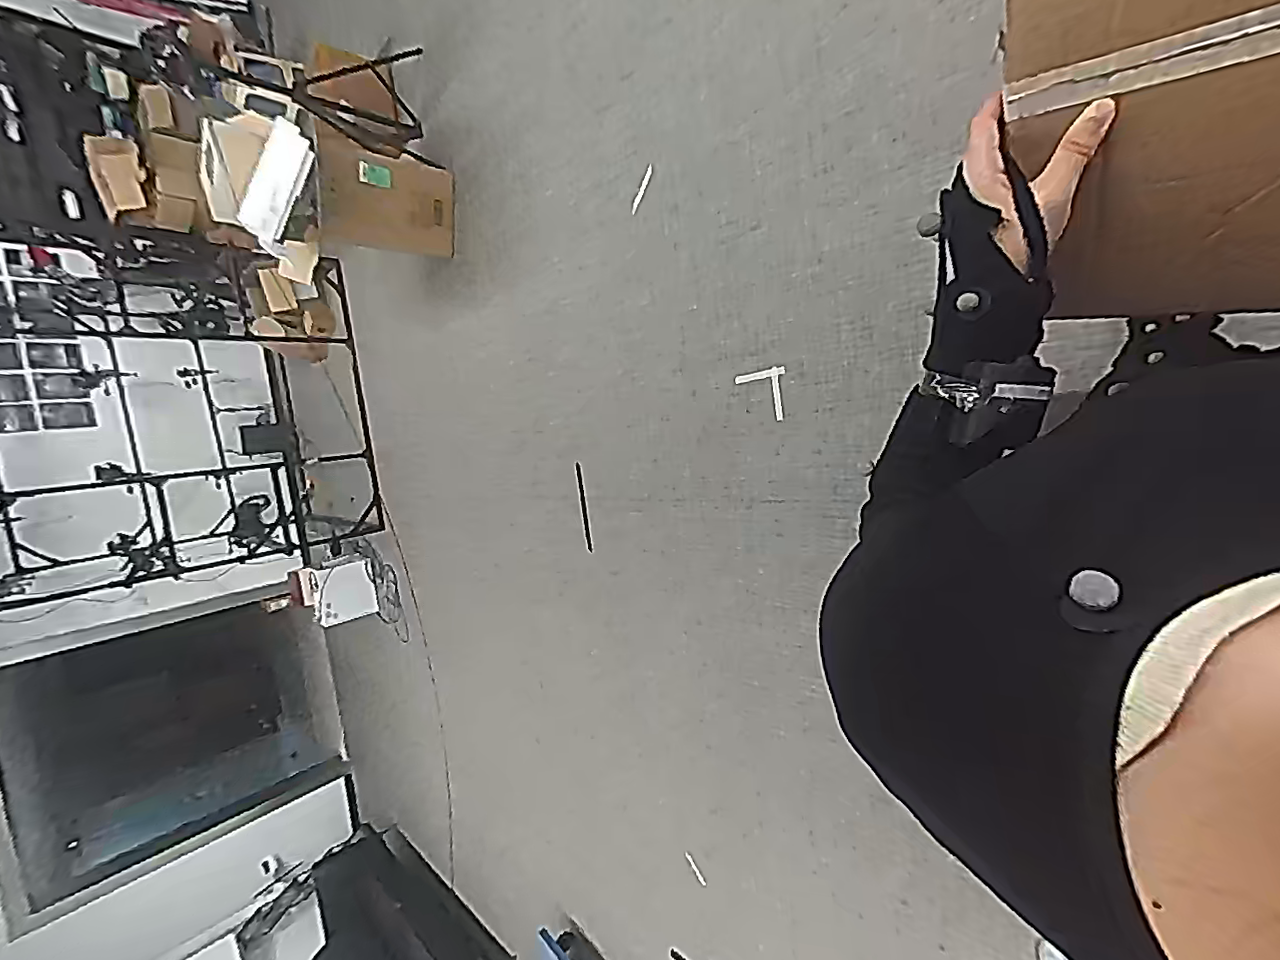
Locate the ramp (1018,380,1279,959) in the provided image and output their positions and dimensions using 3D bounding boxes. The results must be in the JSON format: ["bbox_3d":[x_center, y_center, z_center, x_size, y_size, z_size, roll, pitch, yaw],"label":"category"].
[{"bbox_3d":[1.003,0.328,1.008,0.509,0.206,0.991,-4,96,47],"label":"ramp"}]

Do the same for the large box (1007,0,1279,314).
[{"bbox_3d":[0.460,-0.319,0.276,0.408,0.320,0.320,10,142,44],"label":"large box"}]
